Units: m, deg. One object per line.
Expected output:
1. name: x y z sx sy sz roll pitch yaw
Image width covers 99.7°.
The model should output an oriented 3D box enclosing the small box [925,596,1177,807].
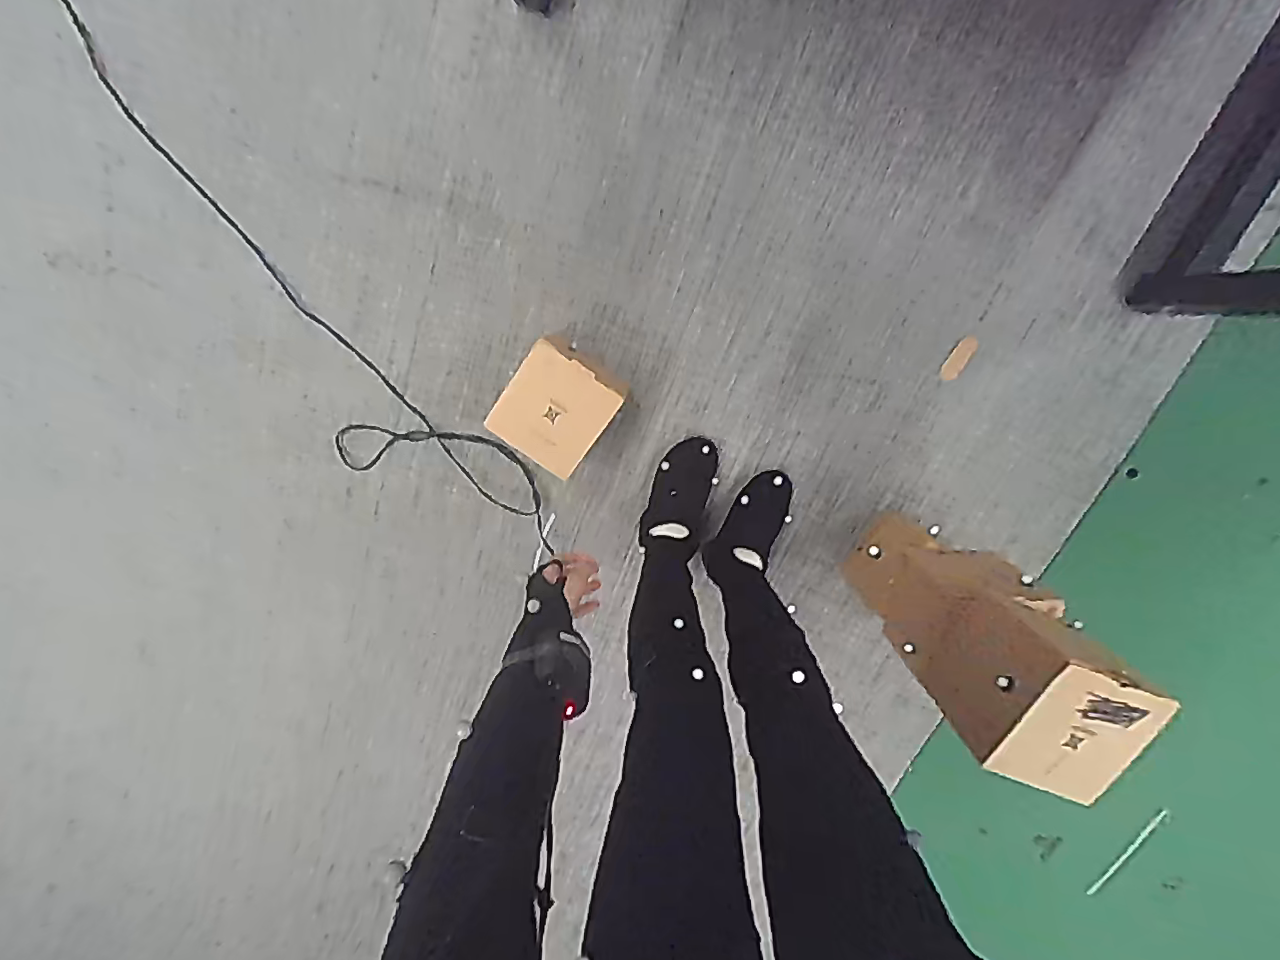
1. small box: 0.526 0.285 0.726 0.168 0.176 0.179 23 108 -8

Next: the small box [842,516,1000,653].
1. small box: 0.525 0.190 1.041 0.179 0.176 0.168 31 106 -9

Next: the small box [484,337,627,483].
1. small box: -0.137 -0.131 0.939 0.168 0.176 0.179 36 105 -10
